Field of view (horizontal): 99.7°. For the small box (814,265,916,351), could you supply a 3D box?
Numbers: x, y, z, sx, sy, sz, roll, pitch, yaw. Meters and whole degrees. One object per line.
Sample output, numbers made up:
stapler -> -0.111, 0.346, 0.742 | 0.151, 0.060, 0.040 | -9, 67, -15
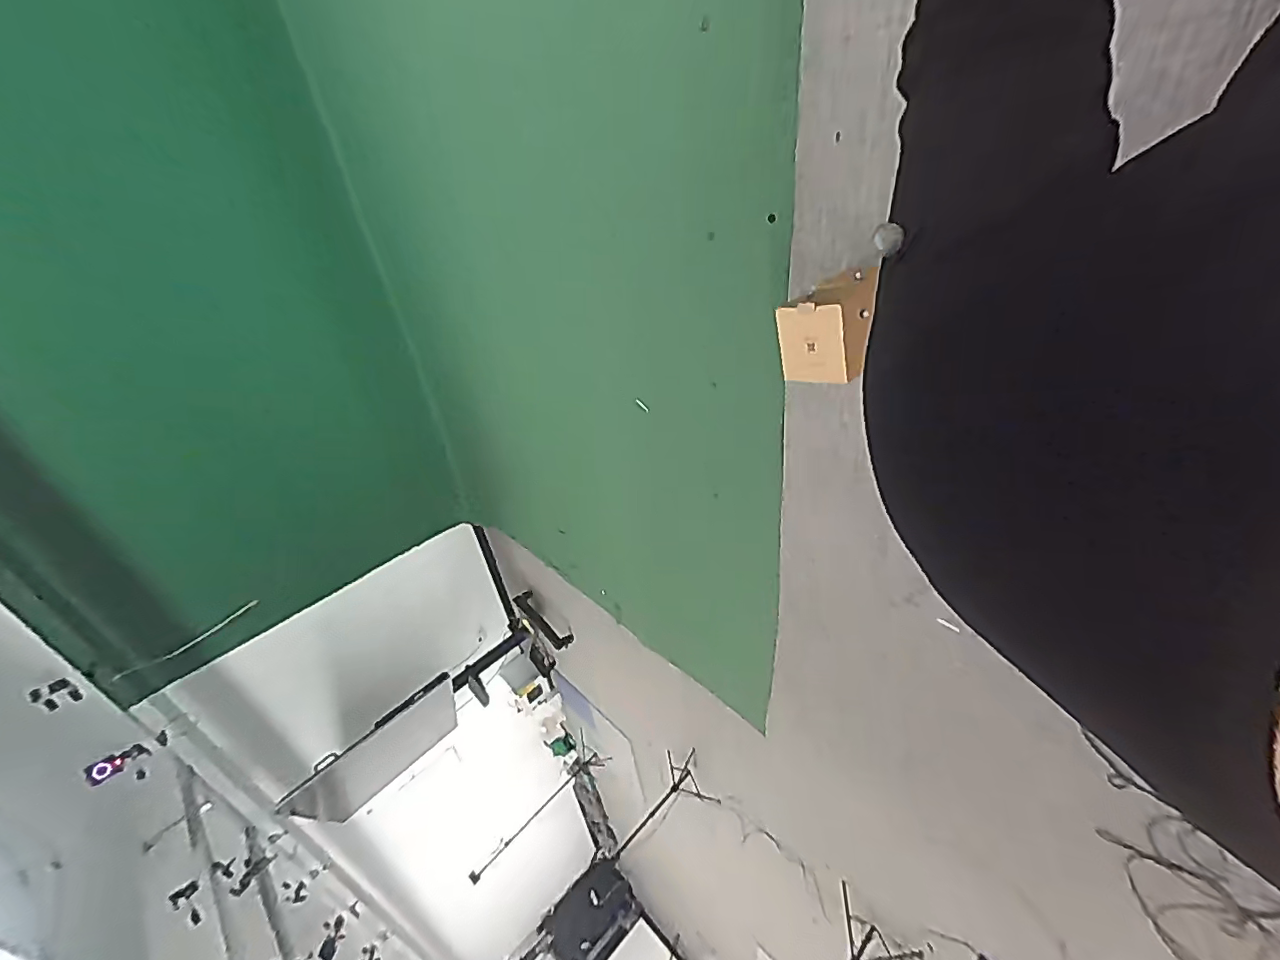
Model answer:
small box -> 0.553, -0.419, 1.322 | 0.179, 0.176, 0.168 | 18, 131, 47

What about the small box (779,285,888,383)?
small box -> 0.445, -0.337, 1.233 | 0.168, 0.176, 0.179 | 16, 130, 49
